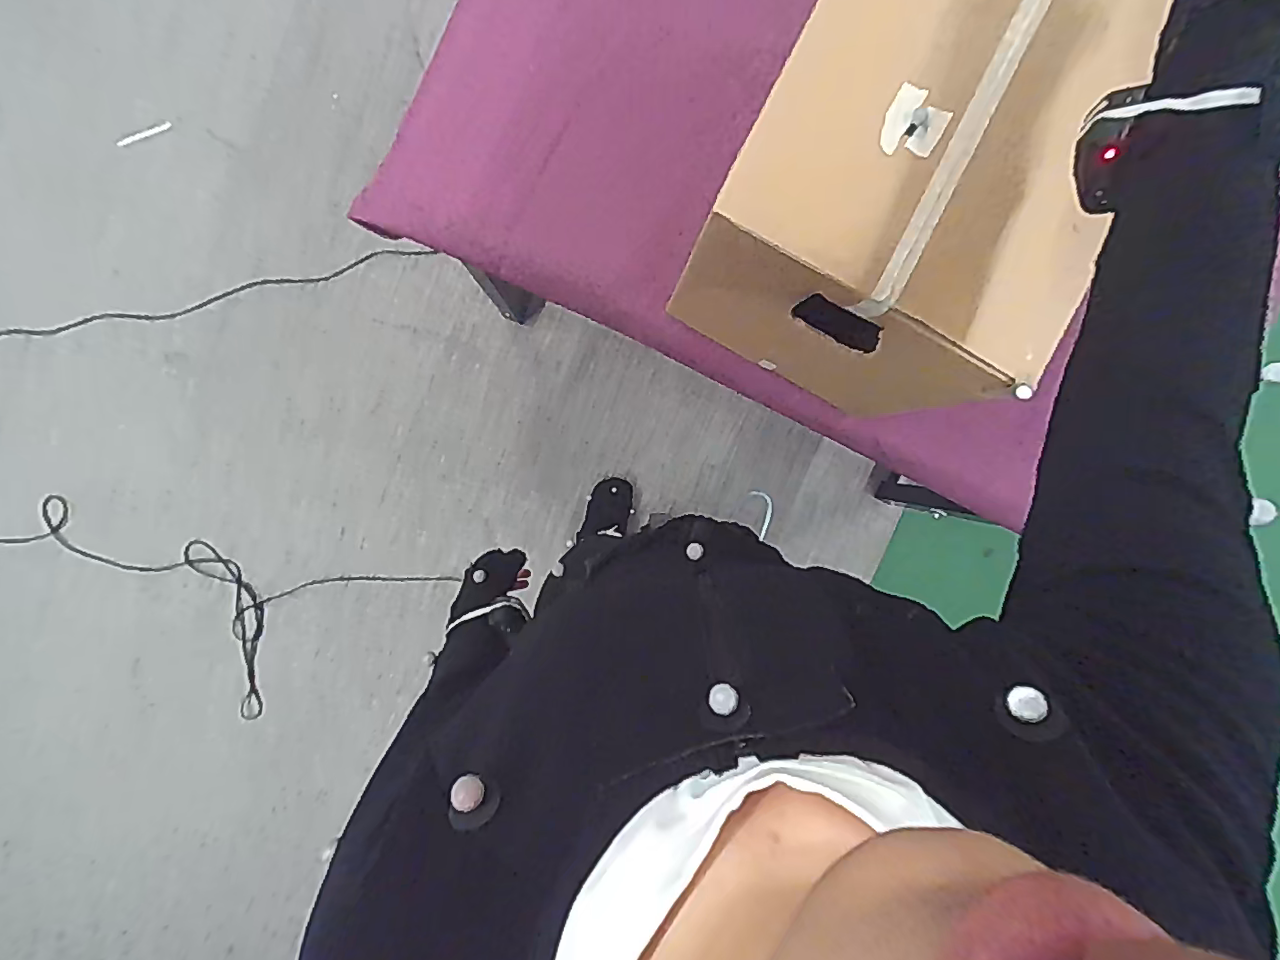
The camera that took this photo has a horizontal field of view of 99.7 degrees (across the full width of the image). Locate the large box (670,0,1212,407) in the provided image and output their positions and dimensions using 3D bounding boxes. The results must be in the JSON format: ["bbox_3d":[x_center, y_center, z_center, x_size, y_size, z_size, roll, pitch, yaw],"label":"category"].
[{"bbox_3d":[0.271,-0.336,0.607,0.320,0.320,0.408,27,91,-5],"label":"large box"}]
